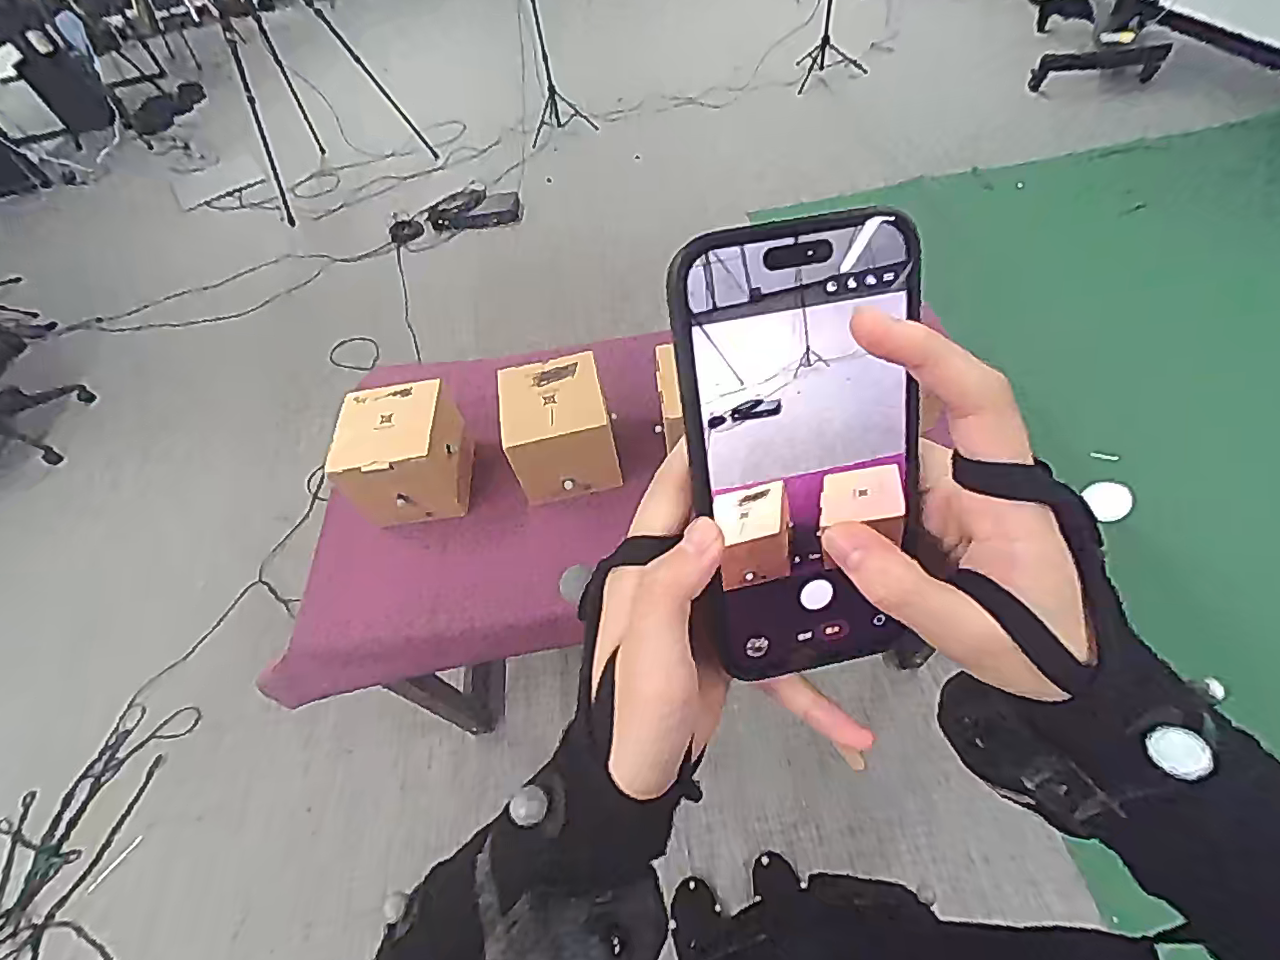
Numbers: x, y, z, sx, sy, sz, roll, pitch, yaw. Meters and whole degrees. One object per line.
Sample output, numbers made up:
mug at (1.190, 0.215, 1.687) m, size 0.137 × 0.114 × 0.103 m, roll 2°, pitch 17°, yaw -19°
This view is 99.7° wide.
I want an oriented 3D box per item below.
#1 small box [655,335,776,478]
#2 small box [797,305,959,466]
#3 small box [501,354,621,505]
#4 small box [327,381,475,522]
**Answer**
small box at (0.125, -0.117, 0.915) m, size 0.179 × 0.176 × 0.168 m, roll -6°, pitch 54°, yaw 4°
small box at (0.380, -0.153, 0.902) m, size 0.179 × 0.176 × 0.168 m, roll -26°, pitch 54°, yaw -11°
small box at (-0.133, -0.084, 0.928) m, size 0.168 × 0.176 × 0.179 m, roll -13°, pitch 54°, yaw -1°
small box at (-0.398, -0.040, 0.936) m, size 0.168 × 0.176 × 0.179 m, roll -8°, pitch 54°, yaw 2°
